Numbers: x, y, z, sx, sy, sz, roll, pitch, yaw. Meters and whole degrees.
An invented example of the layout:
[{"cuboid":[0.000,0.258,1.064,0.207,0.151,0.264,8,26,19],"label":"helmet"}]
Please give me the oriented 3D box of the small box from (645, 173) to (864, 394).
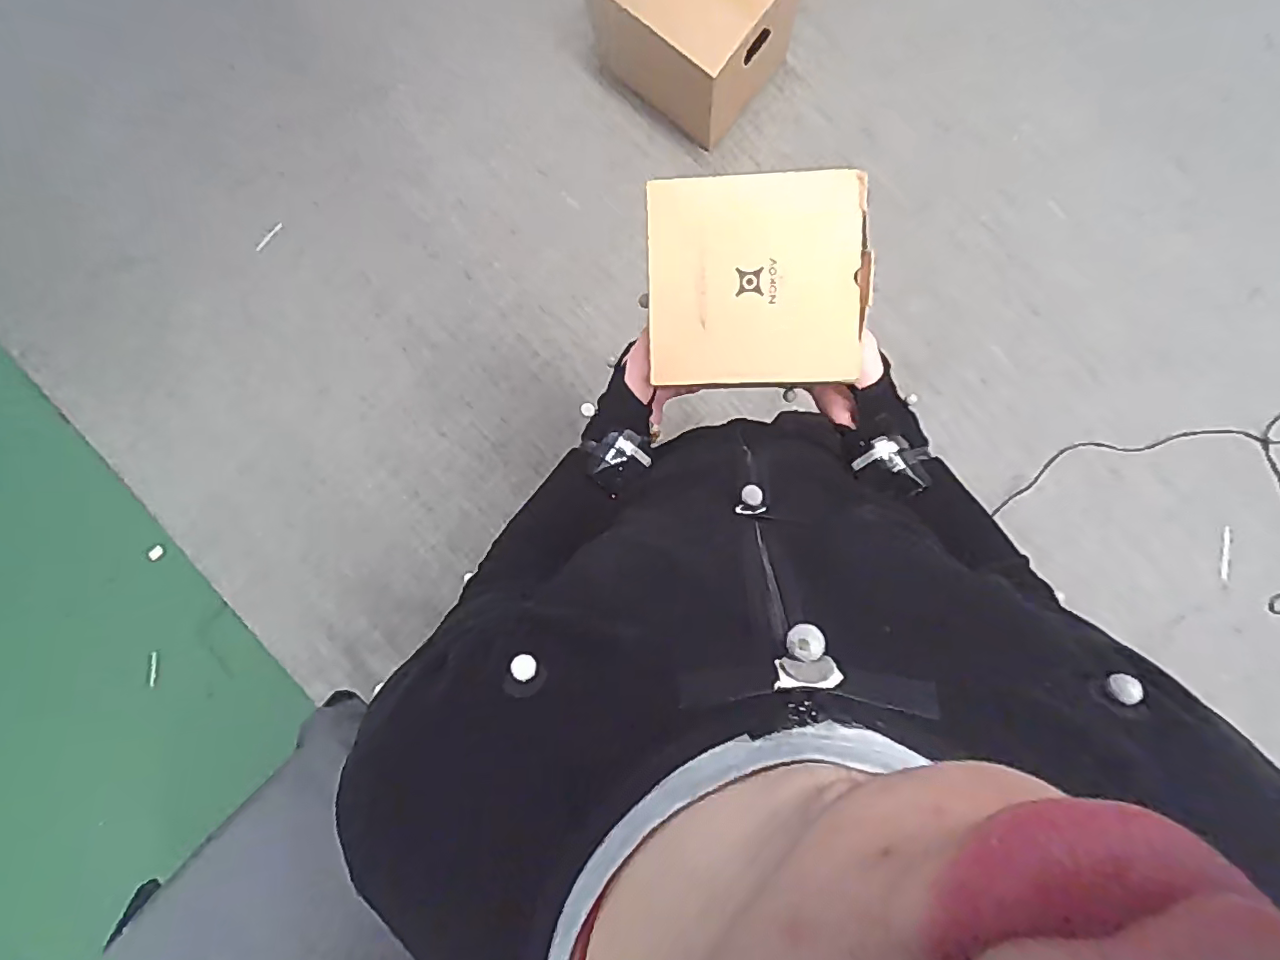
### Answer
[{"cuboid":[0.099,-0.170,0.521,0.179,0.176,0.168,-1,97,6],"label":"small box"}]
